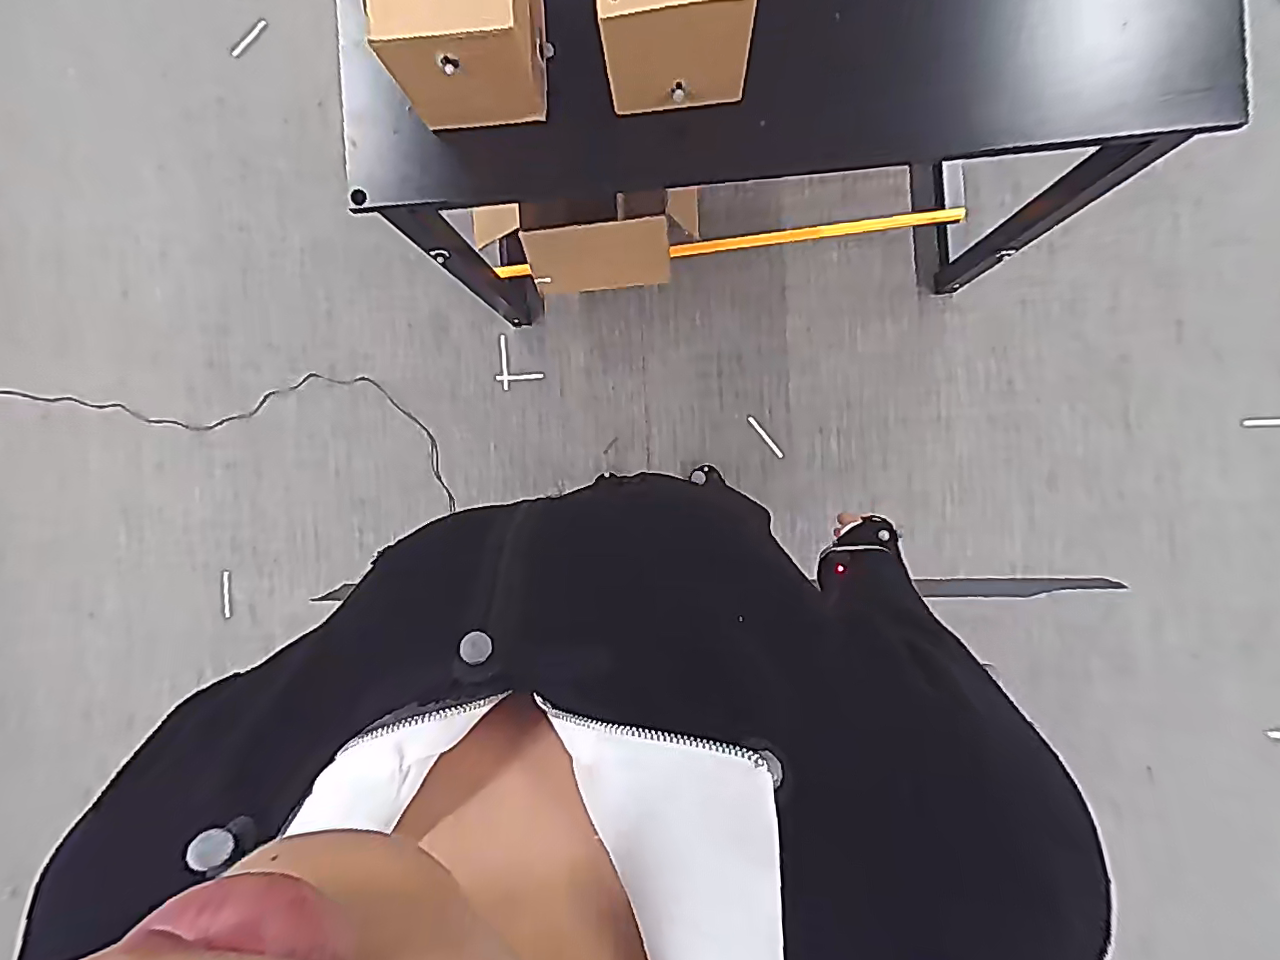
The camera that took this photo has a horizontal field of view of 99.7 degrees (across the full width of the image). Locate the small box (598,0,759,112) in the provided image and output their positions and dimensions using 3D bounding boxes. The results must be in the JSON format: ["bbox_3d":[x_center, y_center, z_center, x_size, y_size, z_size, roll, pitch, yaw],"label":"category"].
[{"bbox_3d":[0.040,-0.590,0.662,0.179,0.176,0.168,-4,91,4],"label":"small box"}]

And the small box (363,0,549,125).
[{"bbox_3d":[-0.223,-0.580,0.681,0.179,0.176,0.168,-2,92,3],"label":"small box"}]
